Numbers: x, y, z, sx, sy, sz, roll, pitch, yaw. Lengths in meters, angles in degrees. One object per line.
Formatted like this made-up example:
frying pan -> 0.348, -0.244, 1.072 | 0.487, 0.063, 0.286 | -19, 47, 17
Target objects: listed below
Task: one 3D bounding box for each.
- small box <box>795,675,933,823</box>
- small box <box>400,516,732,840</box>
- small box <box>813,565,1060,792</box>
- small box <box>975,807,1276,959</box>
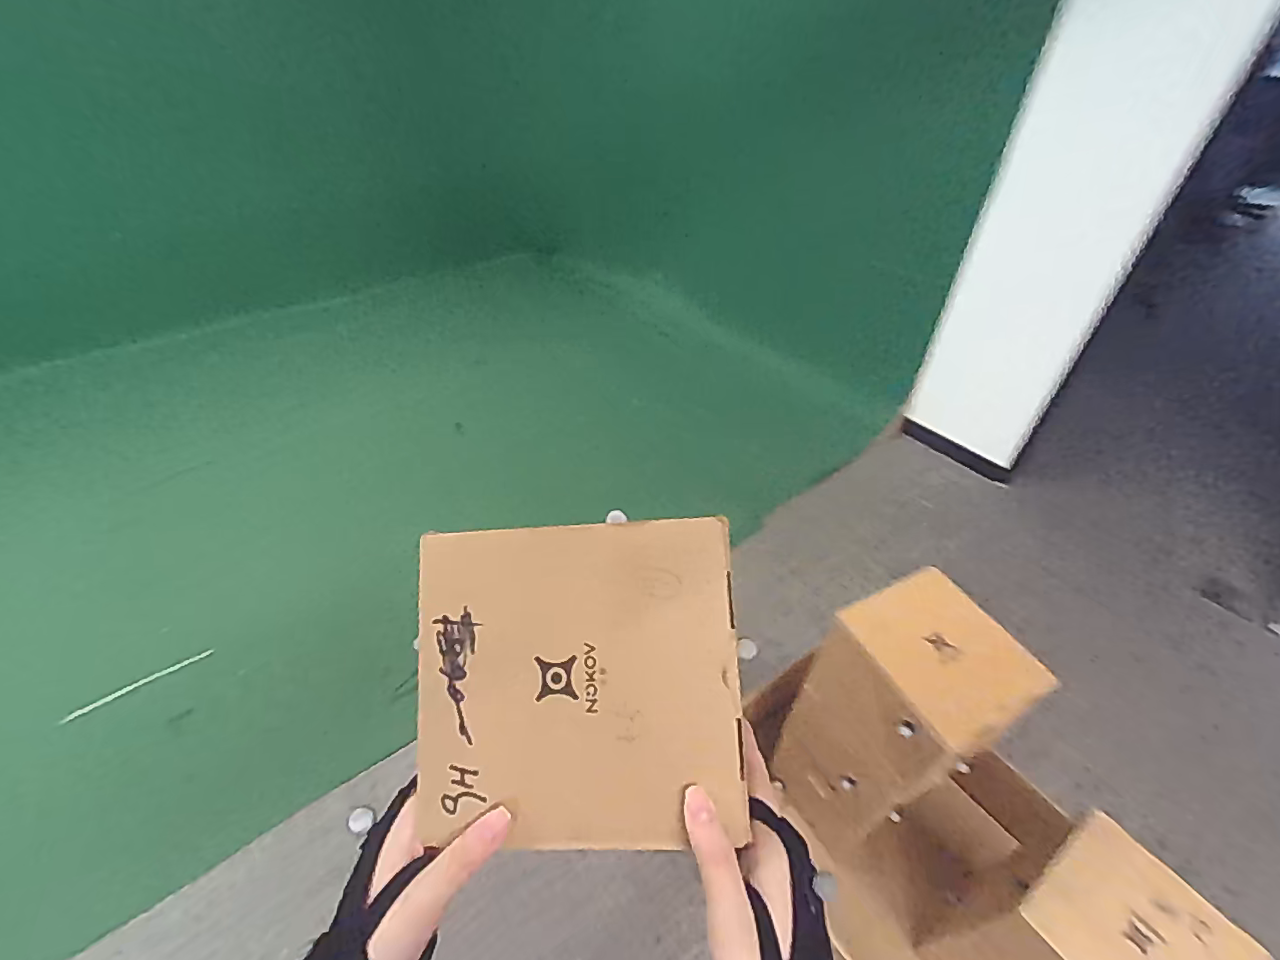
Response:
small box -> 0.345, 0.355, 0.782 | 0.179, 0.176, 0.168 | -20, 47, -20
small box -> -0.037, 0.115, 0.368 | 0.179, 0.176, 0.168 | -4, 80, 5
small box -> 0.342, 0.242, 0.666 | 0.168, 0.176, 0.179 | -18, 48, -18
small box -> 0.511, 0.516, 0.600 | 0.179, 0.176, 0.168 | -25, 48, -23
